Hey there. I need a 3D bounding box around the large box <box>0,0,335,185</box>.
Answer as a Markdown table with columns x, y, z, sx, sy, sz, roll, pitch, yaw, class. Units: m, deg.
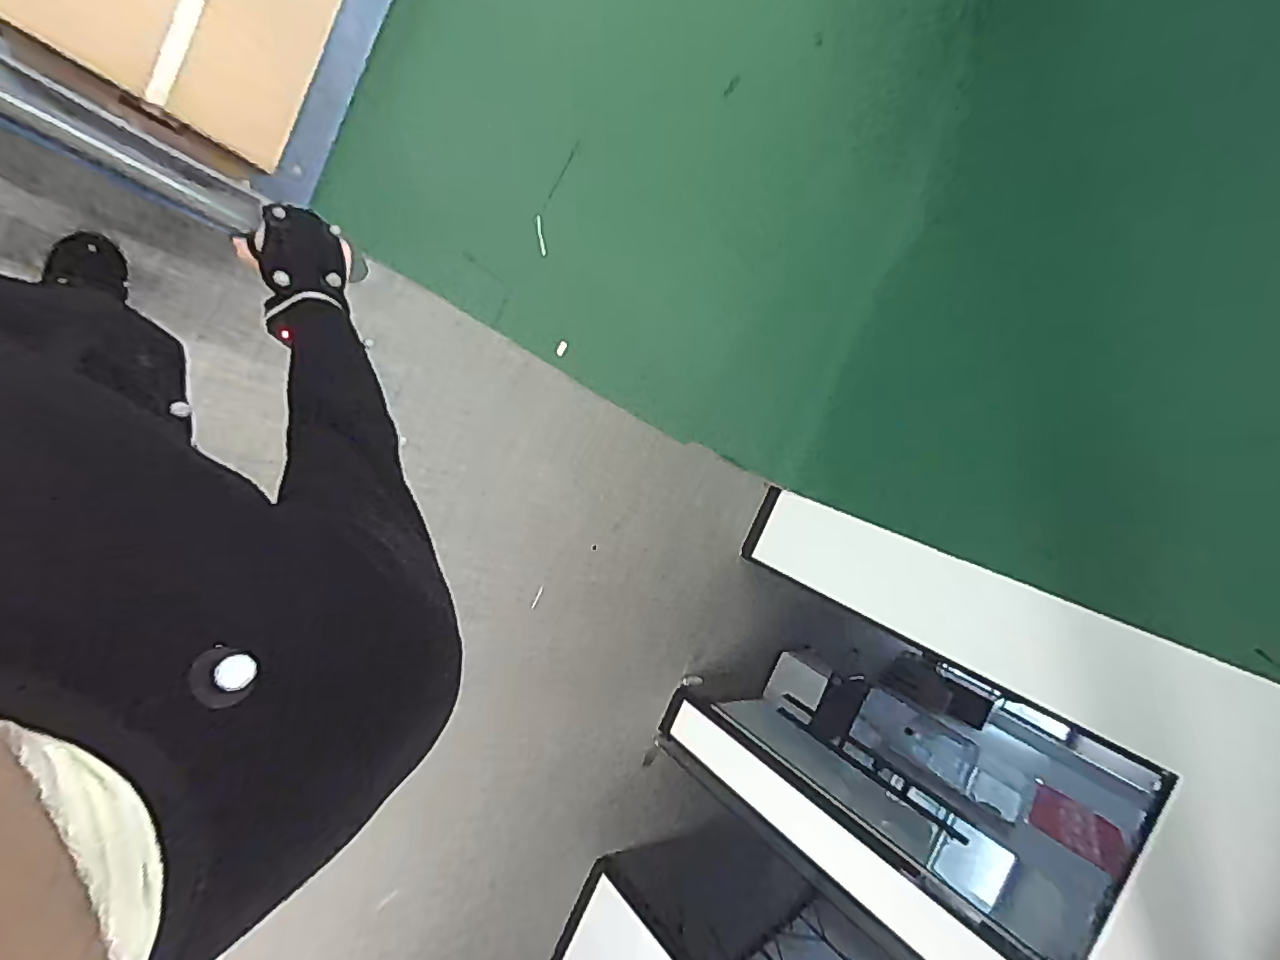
| x | y | z | sx | sy | sz | roll | pitch | yaw | class |
| --- | --- | --- | --- | --- | --- | --- | --- | --- | --- |
| -0.733 | -0.764 | 0.871 | 0.320 | 0.320 | 0.408 | 21 | 93 | -48 | large box |
